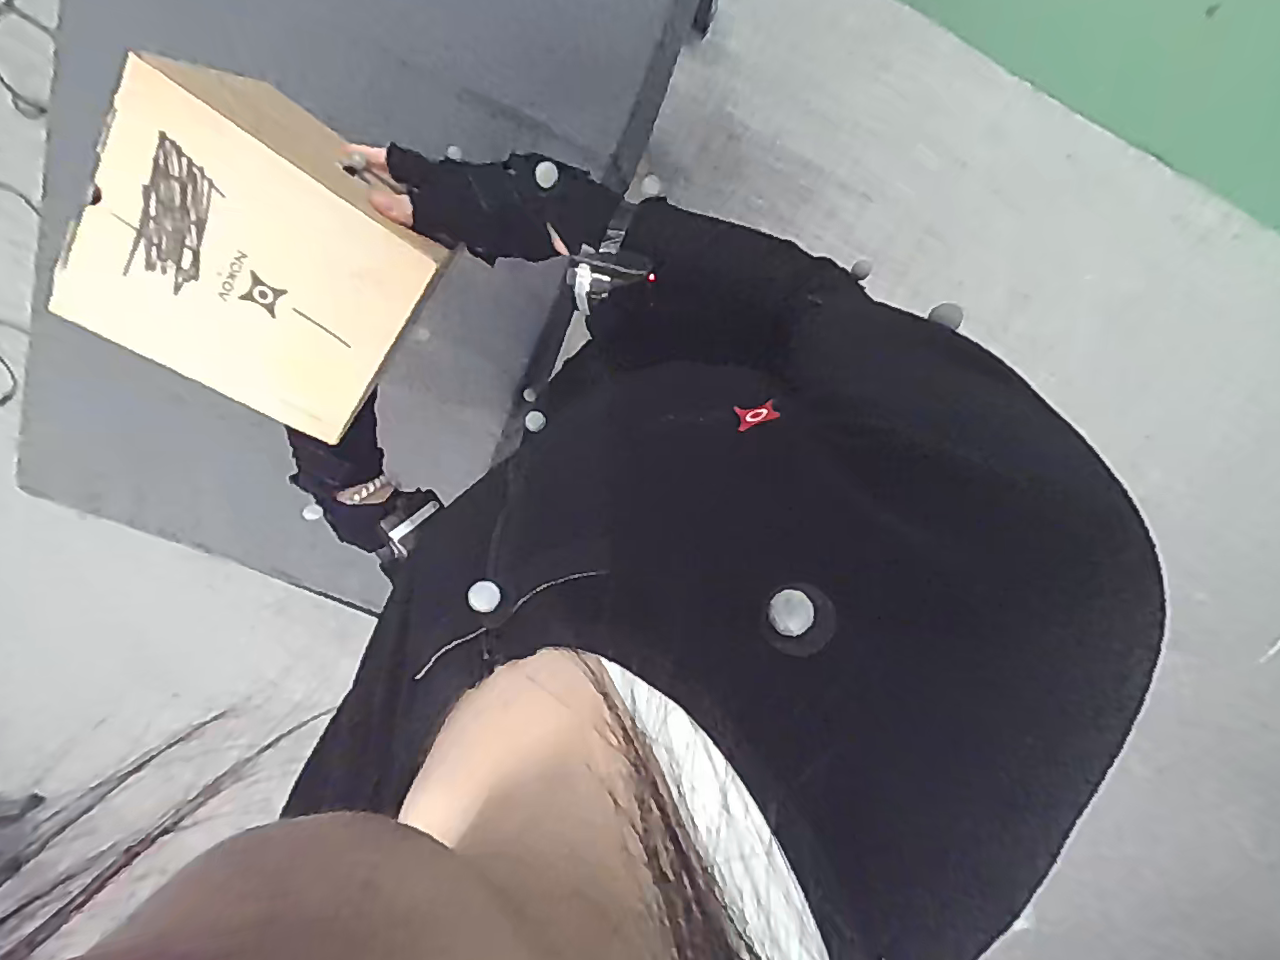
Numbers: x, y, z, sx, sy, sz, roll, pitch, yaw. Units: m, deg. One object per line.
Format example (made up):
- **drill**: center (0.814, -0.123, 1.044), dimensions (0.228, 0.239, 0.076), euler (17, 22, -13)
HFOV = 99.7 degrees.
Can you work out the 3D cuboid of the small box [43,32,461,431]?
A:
- **small box**: center (-0.259, -0.173, 0.407), dimensions (0.179, 0.176, 0.168), euler (32, 110, -26)
